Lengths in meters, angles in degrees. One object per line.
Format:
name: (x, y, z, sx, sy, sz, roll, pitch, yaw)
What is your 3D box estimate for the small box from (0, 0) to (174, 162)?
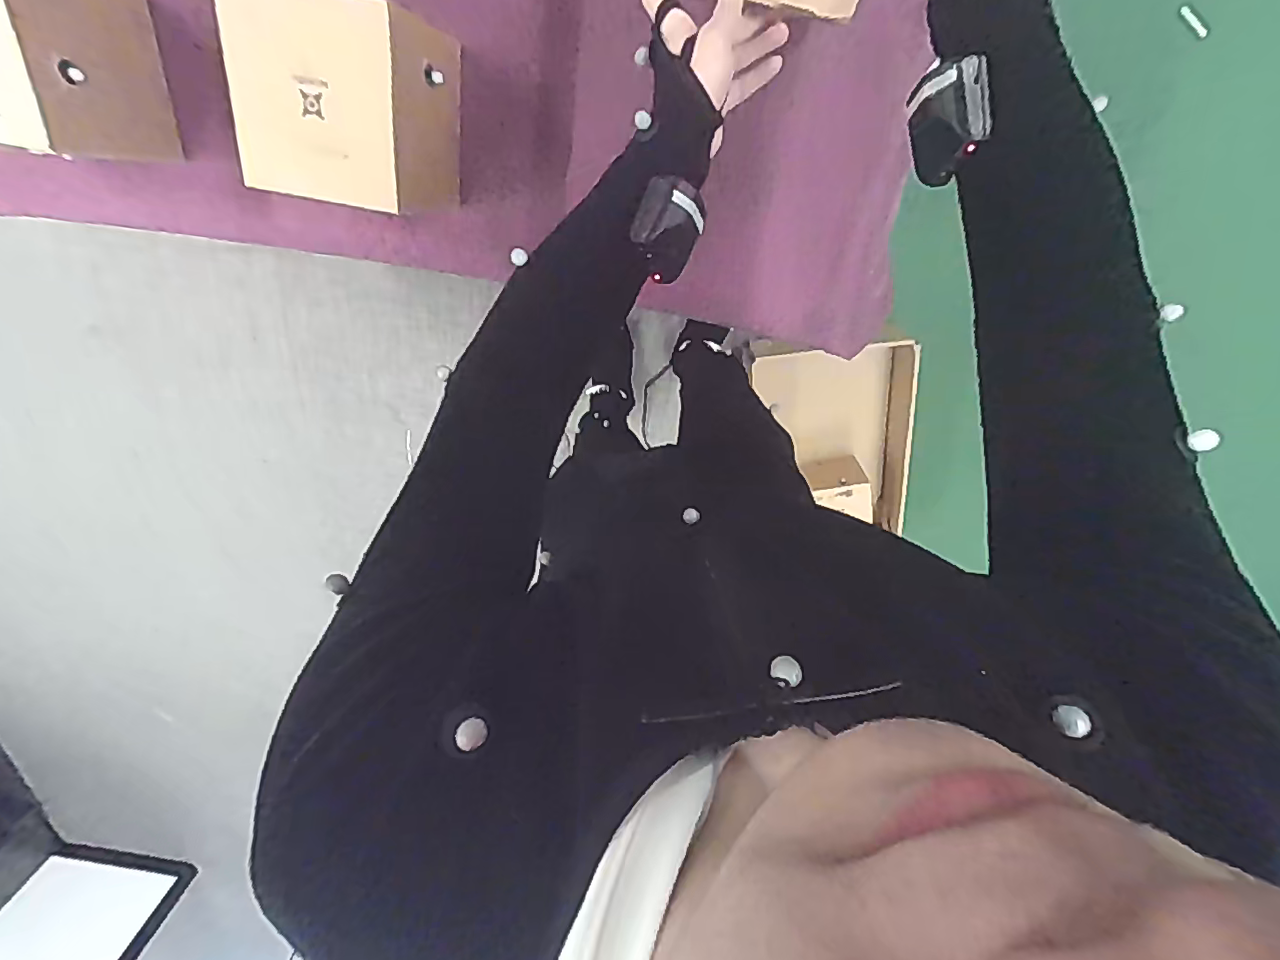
small box: (-0.665, -0.458, 0.587, 0.168, 0.176, 0.179, 9, 117, 1)

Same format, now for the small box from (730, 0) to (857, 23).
small box: (0.119, -0.497, 0.433, 0.168, 0.176, 0.179, 15, 131, 2)

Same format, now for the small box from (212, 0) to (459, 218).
small box: (-0.308, -0.396, 0.585, 0.168, 0.176, 0.179, 12, 118, 1)
